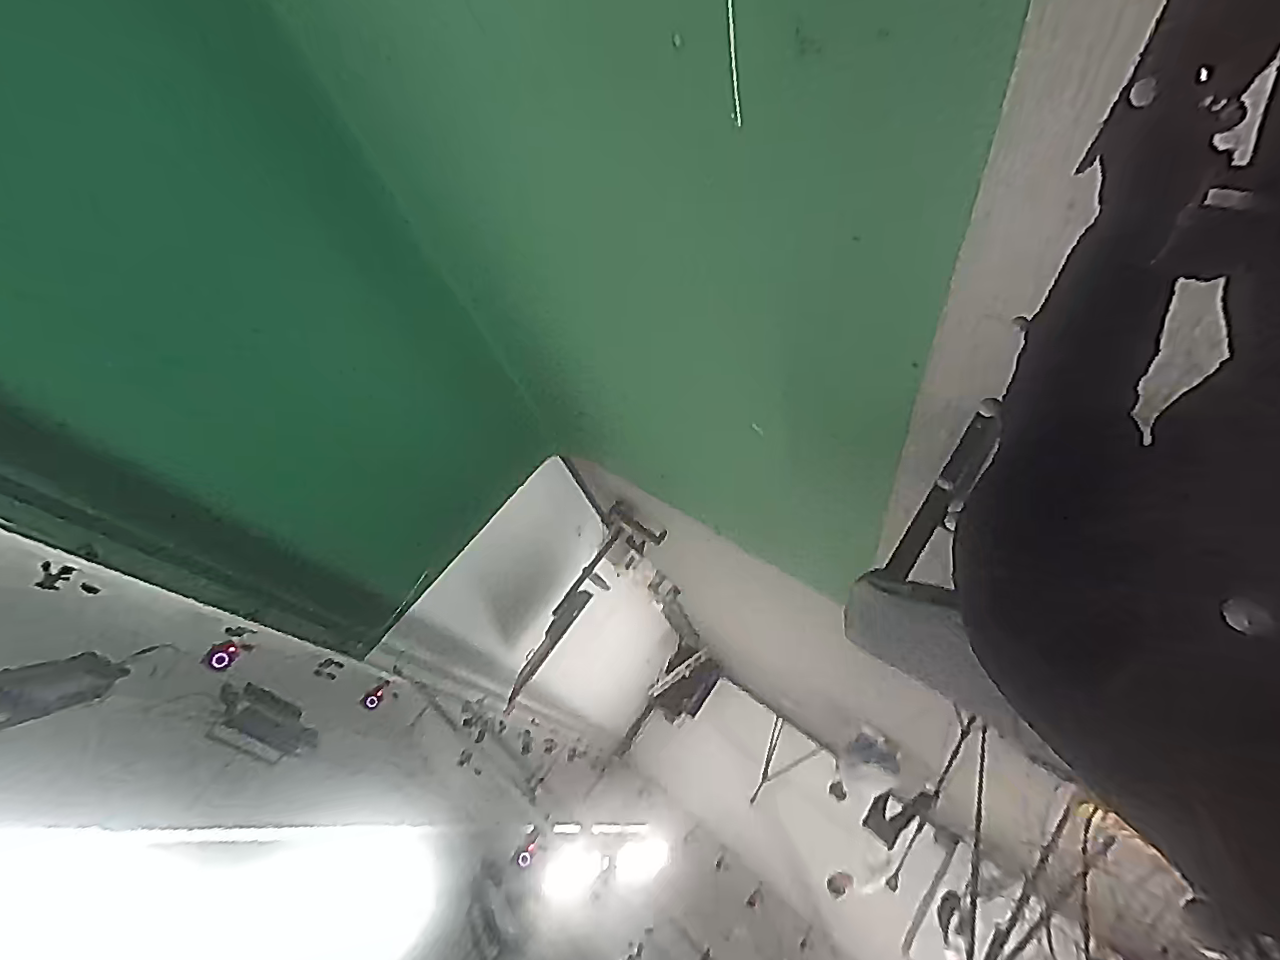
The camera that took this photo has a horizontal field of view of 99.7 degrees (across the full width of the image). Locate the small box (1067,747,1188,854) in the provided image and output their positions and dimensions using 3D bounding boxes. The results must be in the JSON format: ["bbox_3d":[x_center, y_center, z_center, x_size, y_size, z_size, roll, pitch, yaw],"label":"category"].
[{"bbox_3d":[1.230,0.804,1.366,0.168,0.176,0.179,28,160,33],"label":"small box"}]
